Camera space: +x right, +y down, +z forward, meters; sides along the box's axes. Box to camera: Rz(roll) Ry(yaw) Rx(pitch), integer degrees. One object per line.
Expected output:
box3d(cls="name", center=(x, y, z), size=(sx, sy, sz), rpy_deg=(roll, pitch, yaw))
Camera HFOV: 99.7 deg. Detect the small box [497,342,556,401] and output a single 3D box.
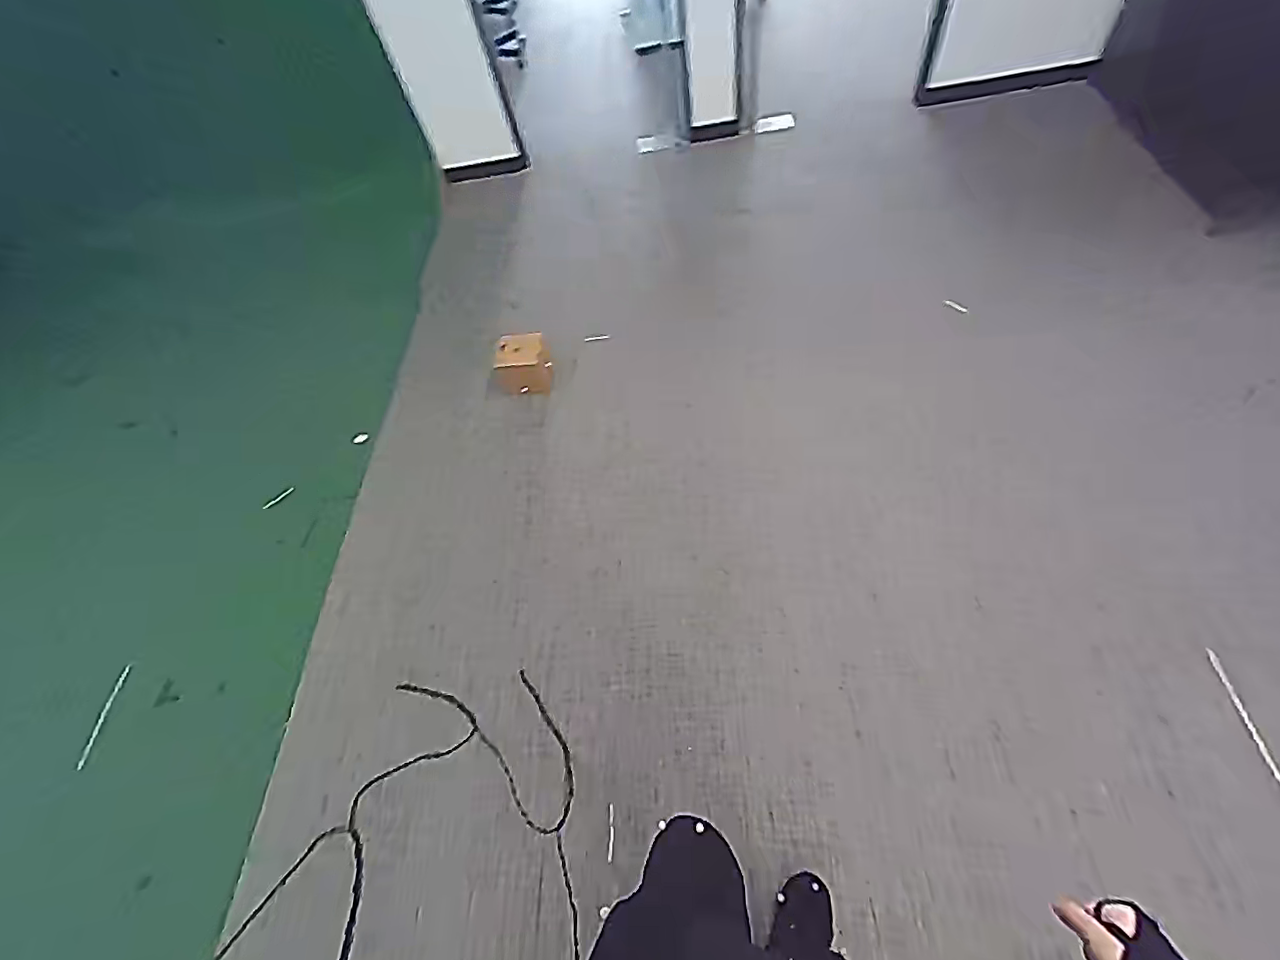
box3d(cls="small box", center=(-0.444, -0.429, 2.153), size=(0.179, 0.176, 0.168), rpy_deg=(-1, 58, 9))
